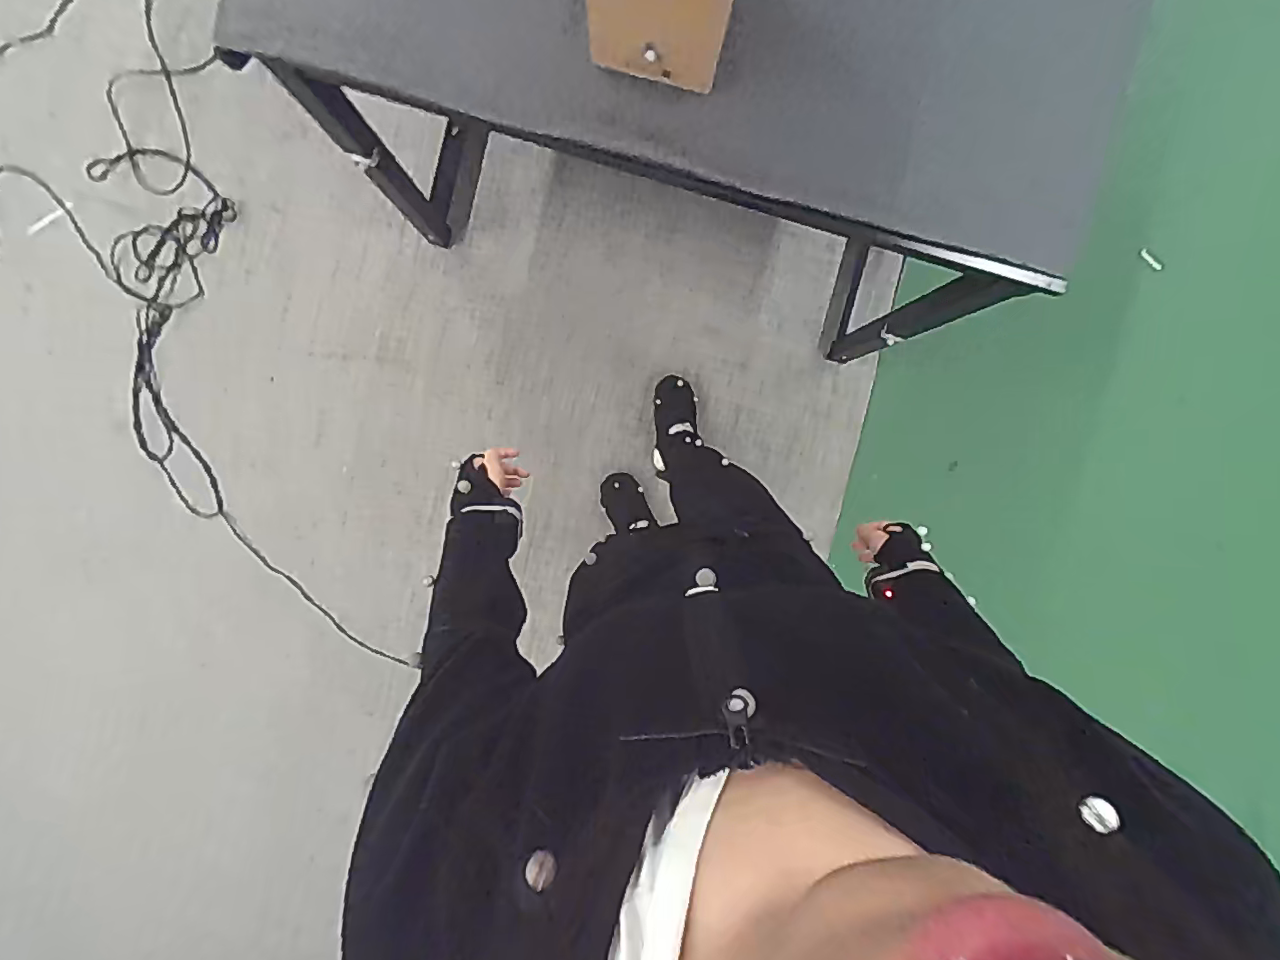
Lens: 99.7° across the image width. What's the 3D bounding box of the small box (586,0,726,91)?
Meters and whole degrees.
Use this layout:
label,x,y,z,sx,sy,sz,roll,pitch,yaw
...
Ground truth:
label,x,y,z,sx,sy,sz,roll,pitch,yaw
small box,0.029,-0.625,0.648,0.168,0.176,0.179,13,92,-3
